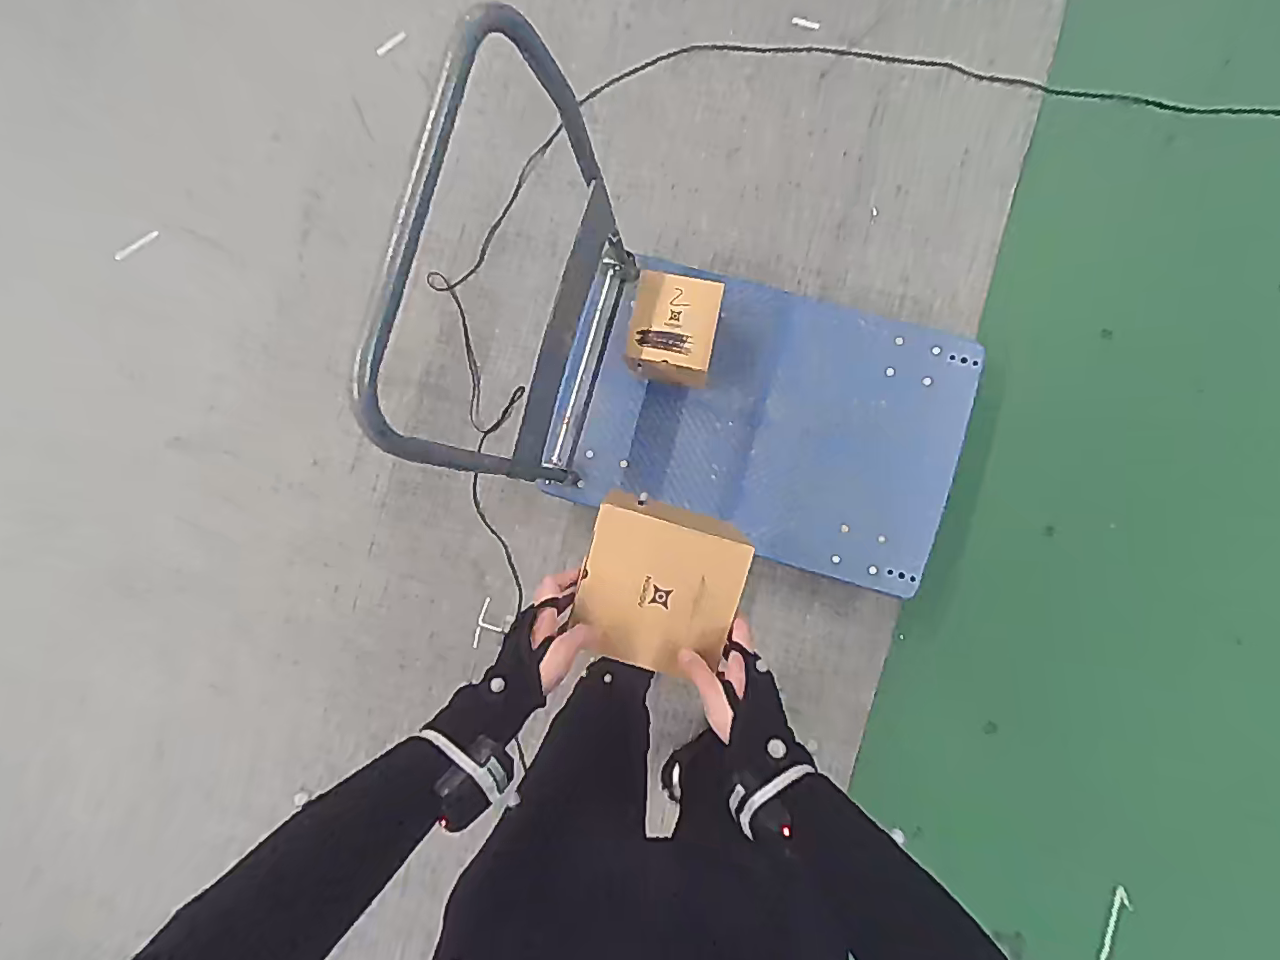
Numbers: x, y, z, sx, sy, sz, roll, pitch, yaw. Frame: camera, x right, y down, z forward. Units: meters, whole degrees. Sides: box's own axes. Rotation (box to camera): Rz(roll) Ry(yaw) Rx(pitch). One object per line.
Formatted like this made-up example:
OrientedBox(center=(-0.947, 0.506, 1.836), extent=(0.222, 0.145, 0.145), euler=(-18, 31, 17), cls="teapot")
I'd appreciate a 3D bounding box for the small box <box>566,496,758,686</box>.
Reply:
OrientedBox(center=(0.025, 0.122, 0.673), extent=(0.179, 0.176, 0.168), euler=(17, 94, 0), cls="small box")
